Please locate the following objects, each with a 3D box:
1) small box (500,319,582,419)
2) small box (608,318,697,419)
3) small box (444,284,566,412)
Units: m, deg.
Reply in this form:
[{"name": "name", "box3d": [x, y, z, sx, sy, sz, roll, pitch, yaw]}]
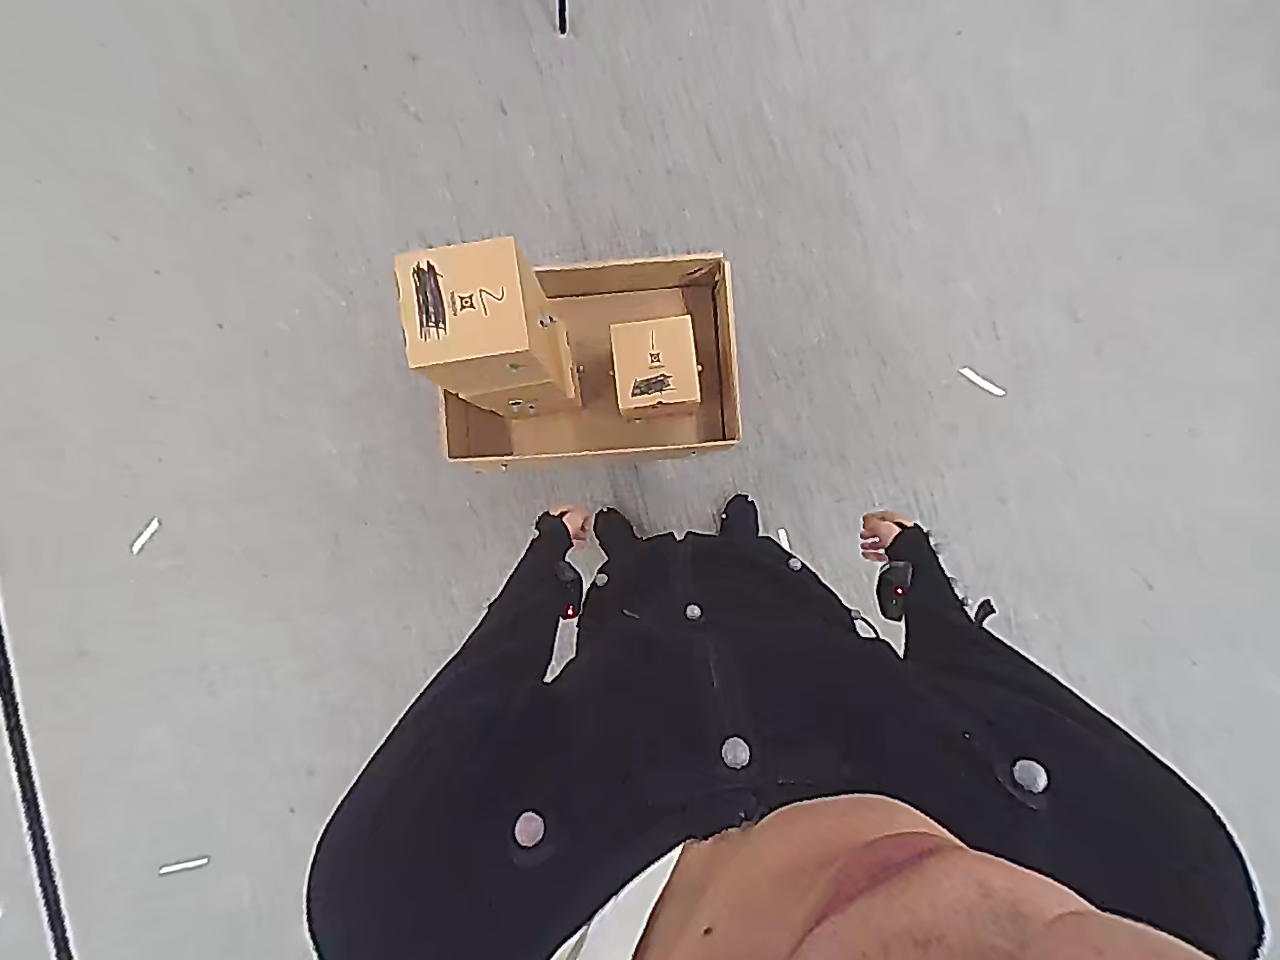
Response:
[{"name": "small box", "box3d": [-0.228, -0.230, 1.161, 0.179, 0.176, 0.168, -7, 89, 0]}, {"name": "small box", "box3d": [0.028, -0.229, 1.157, 0.168, 0.176, 0.179, -7, 88, 1]}, {"name": "small box", "box3d": [-0.241, -0.234, 0.998, 0.168, 0.176, 0.179, -10, 88, 2]}]
